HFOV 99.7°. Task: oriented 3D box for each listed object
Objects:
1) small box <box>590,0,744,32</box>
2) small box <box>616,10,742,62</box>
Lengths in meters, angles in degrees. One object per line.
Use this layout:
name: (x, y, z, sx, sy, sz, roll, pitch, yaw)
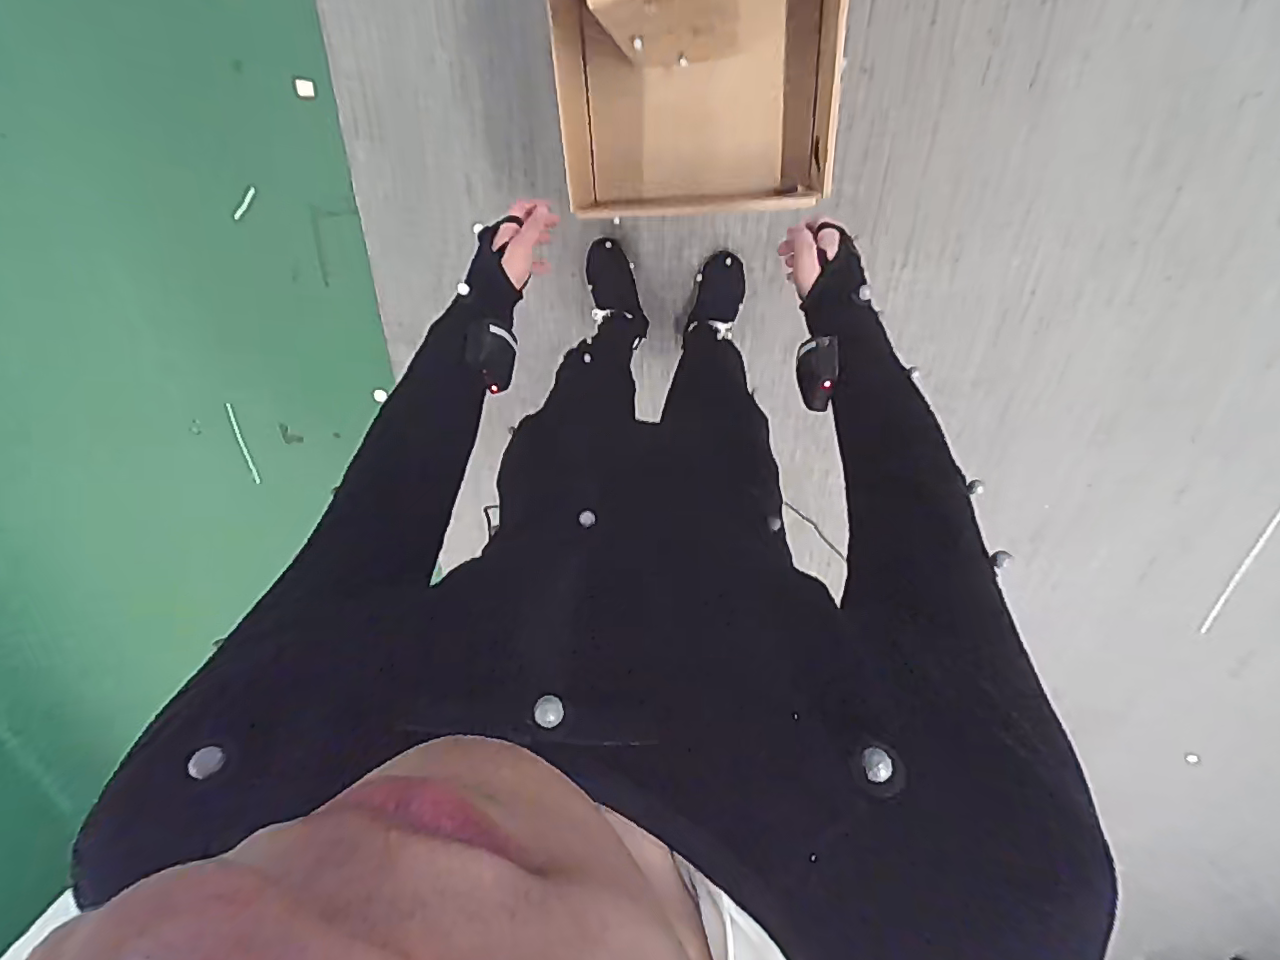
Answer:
small box: (0.032, -0.622, 0.591, 0.168, 0.176, 0.179, 0, 117, 10)
small box: (0.058, -0.699, 0.734, 0.168, 0.176, 0.179, 2, 118, 9)
